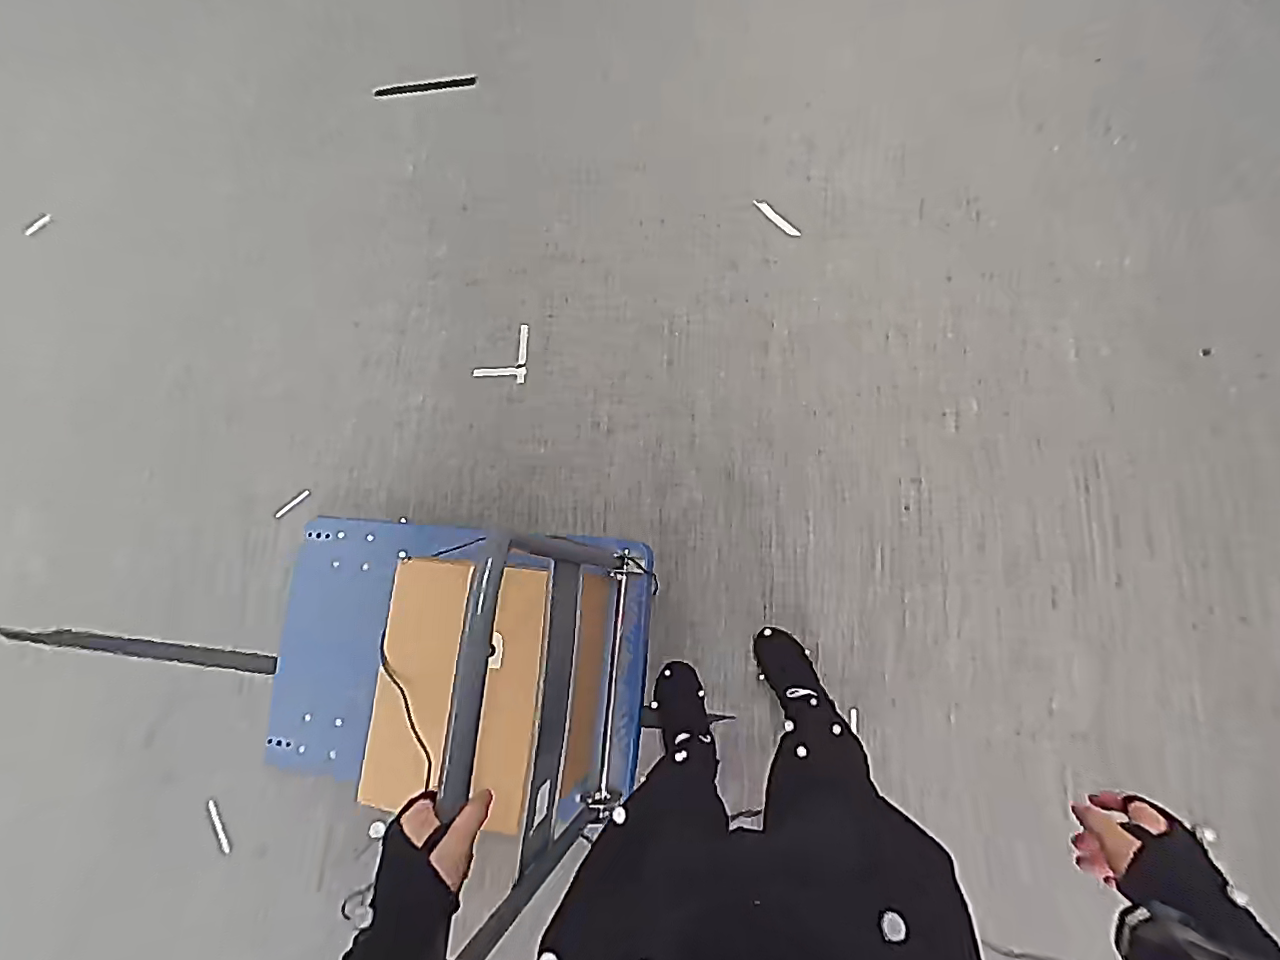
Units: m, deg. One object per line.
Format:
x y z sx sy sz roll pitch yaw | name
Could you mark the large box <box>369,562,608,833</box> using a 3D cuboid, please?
-0.260 0.380 1.044 0.320 0.320 0.408 3 79 11 | large box
